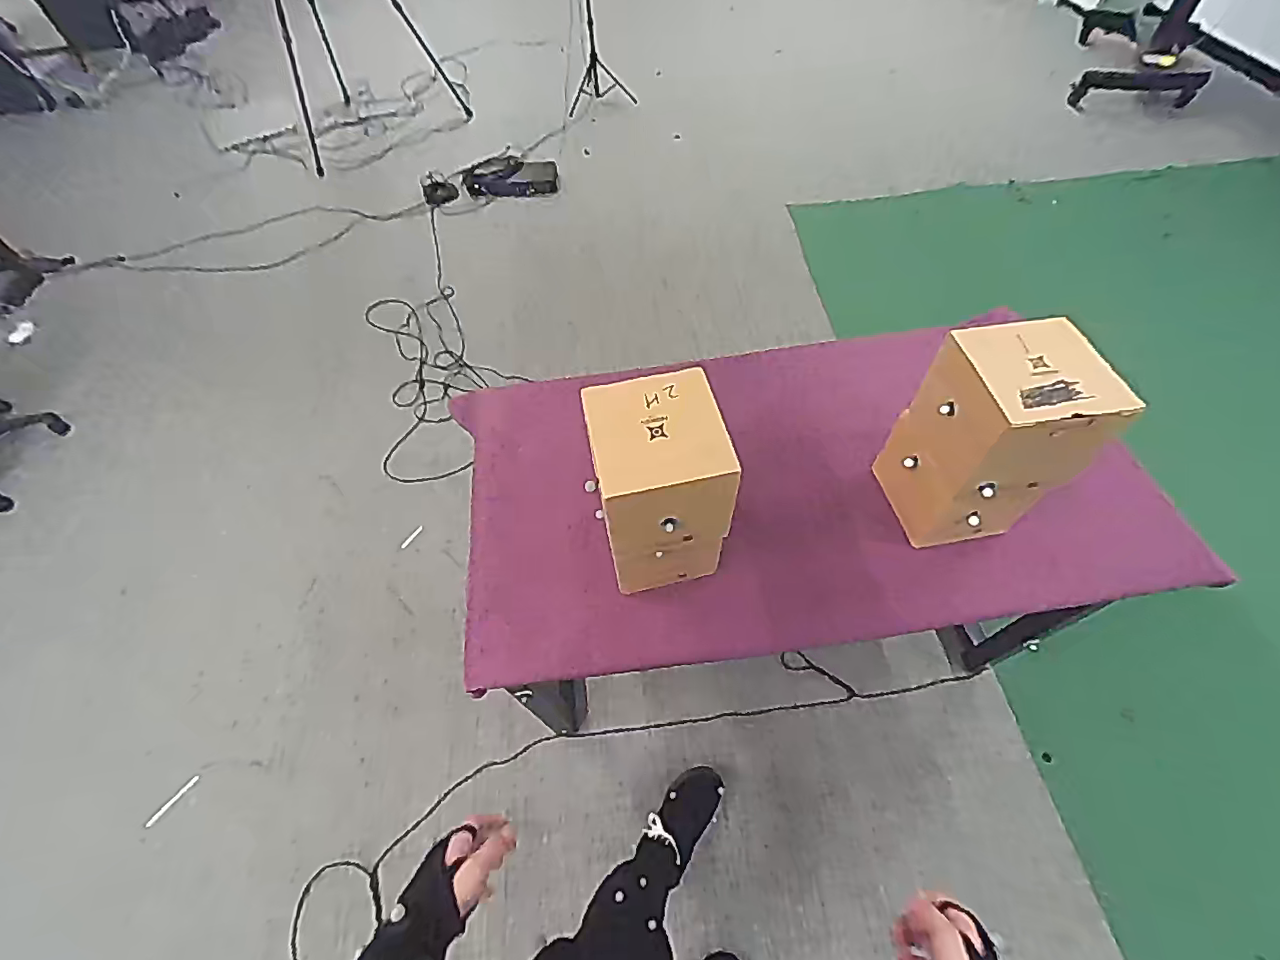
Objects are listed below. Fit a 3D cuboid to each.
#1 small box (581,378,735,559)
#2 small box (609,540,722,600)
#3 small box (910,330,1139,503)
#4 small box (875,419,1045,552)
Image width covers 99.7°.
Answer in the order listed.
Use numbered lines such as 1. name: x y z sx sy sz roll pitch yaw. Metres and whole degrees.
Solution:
1. small box: 0.021 -0.007 0.732 0.168 0.176 0.179 -11 56 -5
2. small box: 0.025 0.071 0.879 0.168 0.176 0.179 -12 56 -4
3. small box: 0.510 -0.080 0.752 0.168 0.176 0.179 -6 54 0
4. small box: 0.518 0.006 0.892 0.168 0.176 0.179 -9 55 -2
